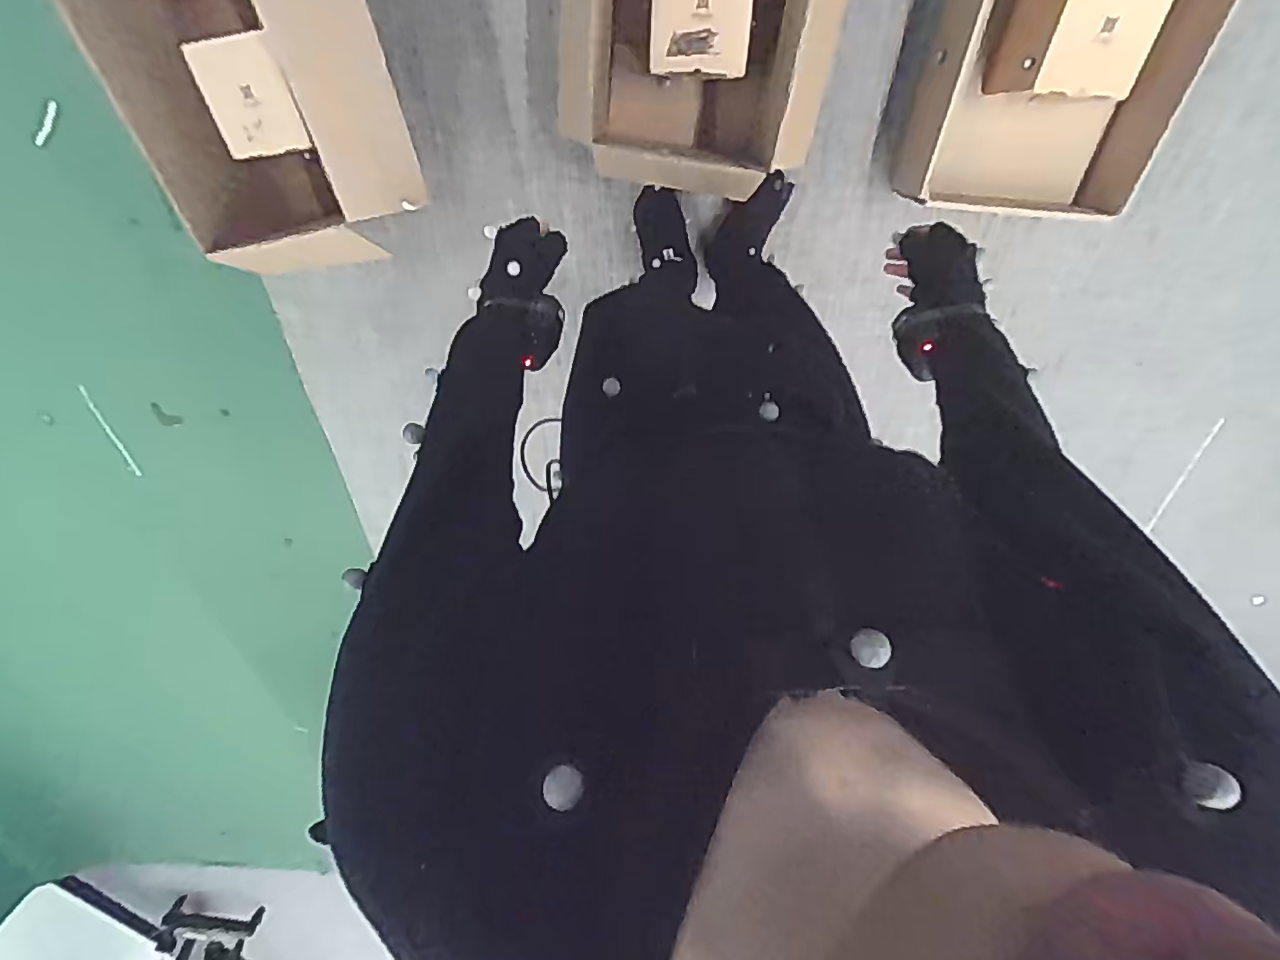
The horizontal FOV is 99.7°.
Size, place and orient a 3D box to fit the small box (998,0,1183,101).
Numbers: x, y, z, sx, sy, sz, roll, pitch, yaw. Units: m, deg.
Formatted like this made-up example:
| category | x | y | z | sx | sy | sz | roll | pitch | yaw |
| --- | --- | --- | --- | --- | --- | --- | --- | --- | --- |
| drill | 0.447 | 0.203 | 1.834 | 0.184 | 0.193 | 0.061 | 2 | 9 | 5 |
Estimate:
| category | x | y | z | sx | sy | sz | roll | pitch | yaw |
| --- | --- | --- | --- | --- | --- | --- | --- | --- | --- |
| small box | 0.754 | -0.758 | 0.917 | 0.168 | 0.176 | 0.179 | 4 | 124 | 0 |
